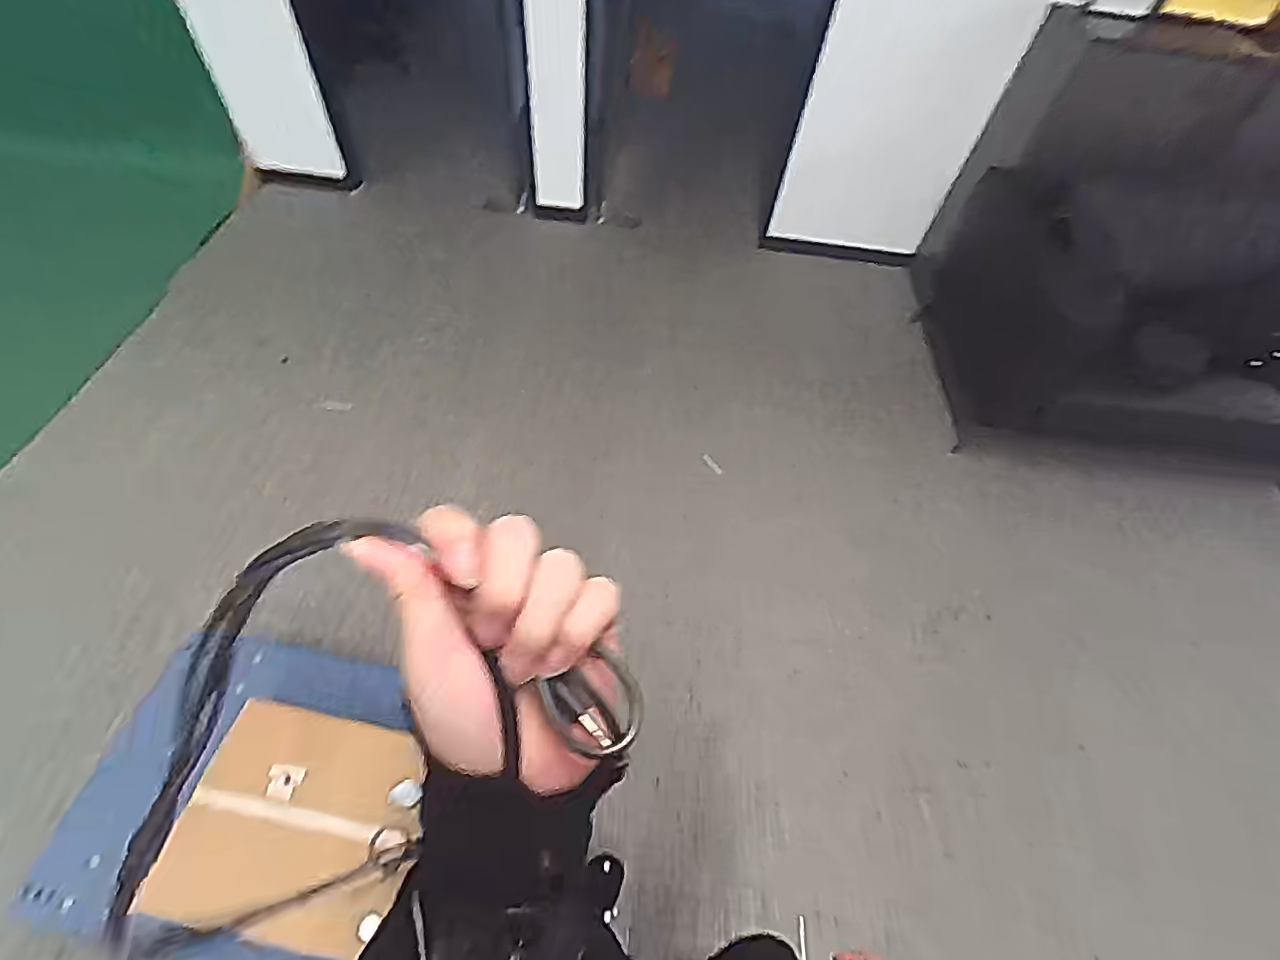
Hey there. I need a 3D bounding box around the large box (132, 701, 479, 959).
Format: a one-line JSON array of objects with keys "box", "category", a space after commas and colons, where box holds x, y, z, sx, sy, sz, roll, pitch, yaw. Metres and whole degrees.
[{"box": [-0.567, 0.649, 1.023, 0.408, 0.320, 0.320, 12, 54, 2], "category": "large box"}]
